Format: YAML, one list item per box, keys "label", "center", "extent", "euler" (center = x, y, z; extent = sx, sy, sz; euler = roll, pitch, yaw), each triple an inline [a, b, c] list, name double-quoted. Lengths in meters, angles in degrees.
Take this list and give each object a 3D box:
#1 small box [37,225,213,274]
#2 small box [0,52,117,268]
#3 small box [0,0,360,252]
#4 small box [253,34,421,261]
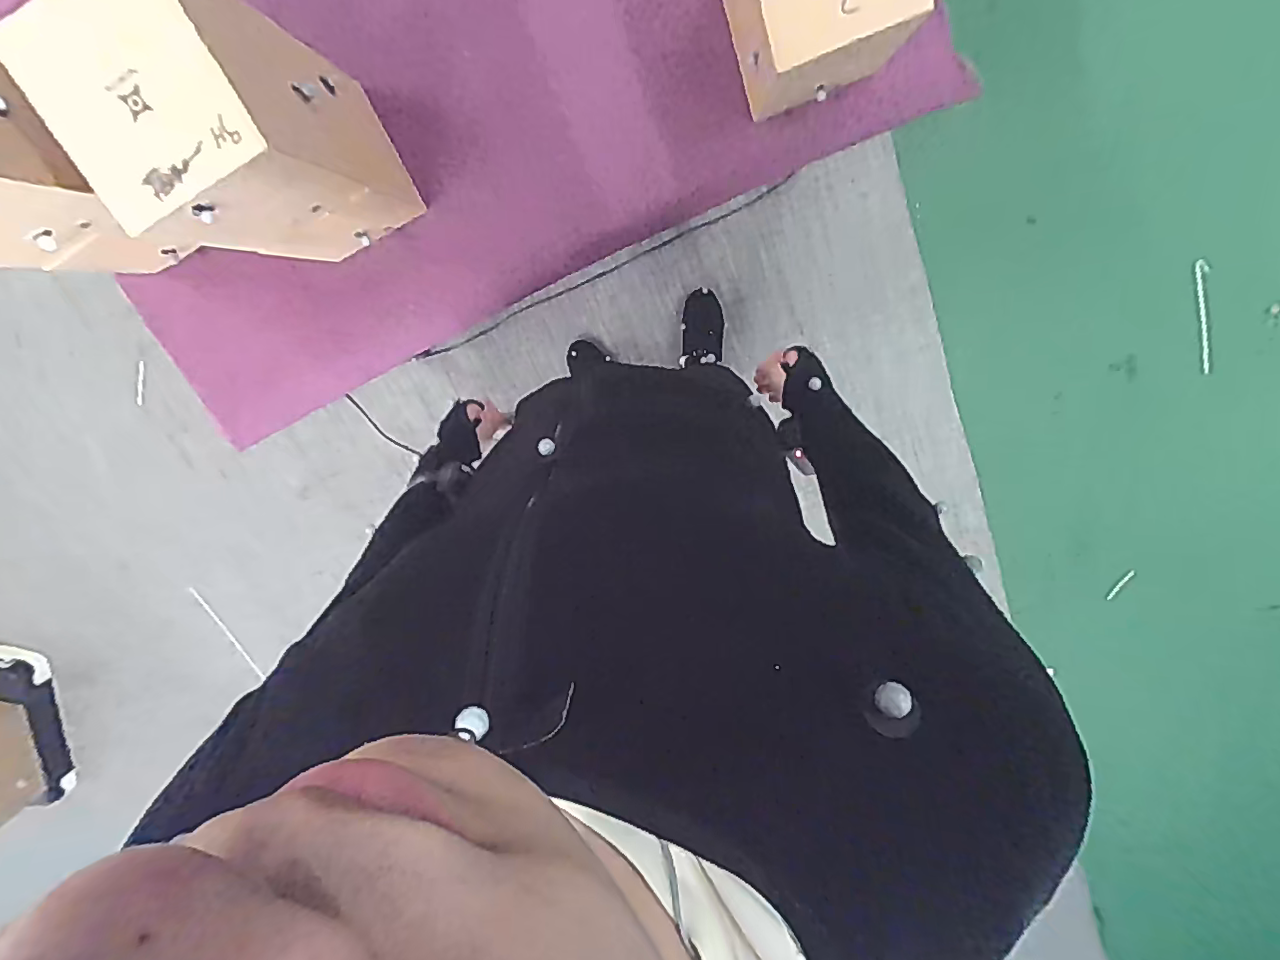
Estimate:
- label: "small box"
  center: [-0.700, -0.387, 0.708]
  extent: [0.168, 0.176, 0.179]
  euler: [-25, 107, 11]
- label: "small box"
  center: [-0.706, -0.335, 0.553]
  extent: [0.168, 0.176, 0.179]
  euler: [-25, 107, 11]
- label: "small box"
  center: [-0.427, -0.350, 0.536]
  extent: [0.168, 0.176, 0.179]
  euler: [-24, 106, 10]
- label: "small box"
  center: [-0.420, -0.401, 0.692]
  extent: [0.168, 0.176, 0.179]
  euler: [-24, 107, 10]
